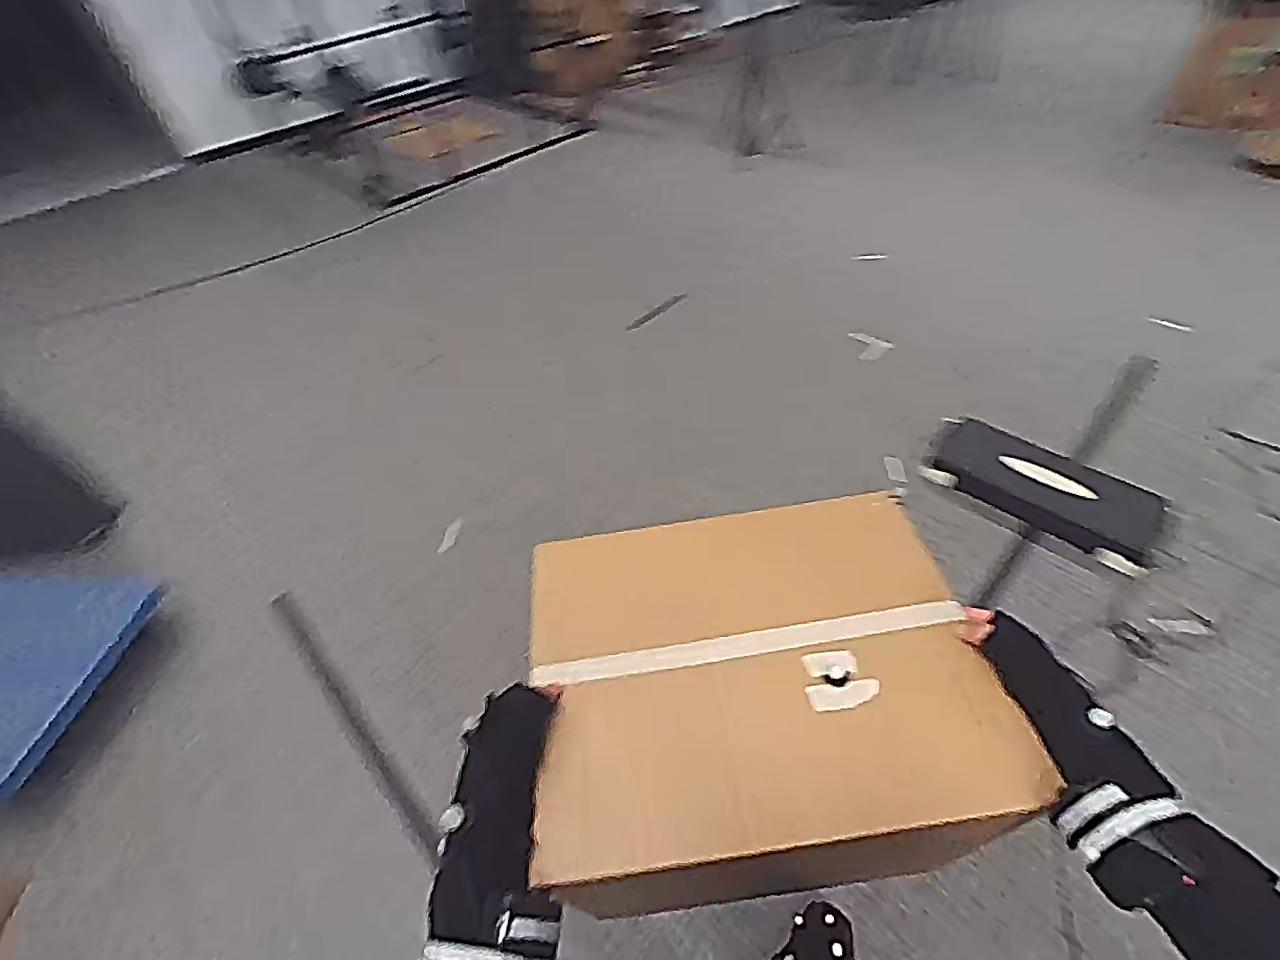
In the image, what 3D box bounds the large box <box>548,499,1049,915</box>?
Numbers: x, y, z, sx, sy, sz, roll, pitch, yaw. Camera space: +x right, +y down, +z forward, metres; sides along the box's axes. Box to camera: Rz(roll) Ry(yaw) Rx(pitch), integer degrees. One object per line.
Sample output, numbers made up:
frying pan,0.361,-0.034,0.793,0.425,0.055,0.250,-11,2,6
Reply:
large box,0.121,0.262,0.625,0.408,0.320,0.320,-8,46,0
